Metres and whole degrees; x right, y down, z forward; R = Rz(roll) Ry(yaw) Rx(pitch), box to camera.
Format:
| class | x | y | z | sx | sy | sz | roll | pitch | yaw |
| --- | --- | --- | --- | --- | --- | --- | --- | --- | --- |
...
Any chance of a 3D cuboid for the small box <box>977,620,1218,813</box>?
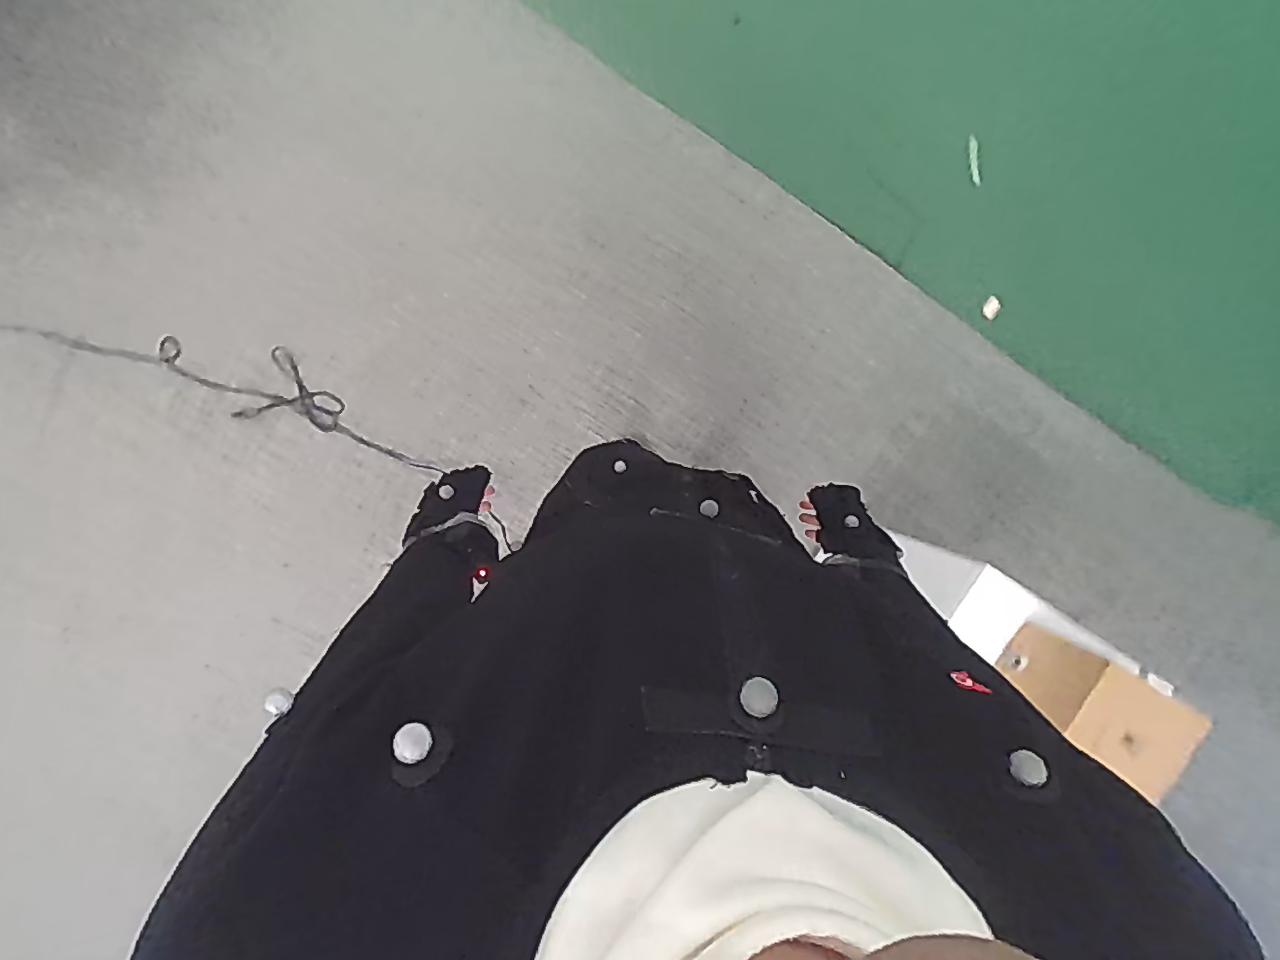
| class | x | y | z | sx | sy | sz | roll | pitch | yaw |
| --- | --- | --- | --- | --- | --- | --- | --- | --- | --- |
| small box | 0.663 | 0.336 | 0.806 | 0.179 | 0.176 | 0.168 | 31 | 93 | -3 |
